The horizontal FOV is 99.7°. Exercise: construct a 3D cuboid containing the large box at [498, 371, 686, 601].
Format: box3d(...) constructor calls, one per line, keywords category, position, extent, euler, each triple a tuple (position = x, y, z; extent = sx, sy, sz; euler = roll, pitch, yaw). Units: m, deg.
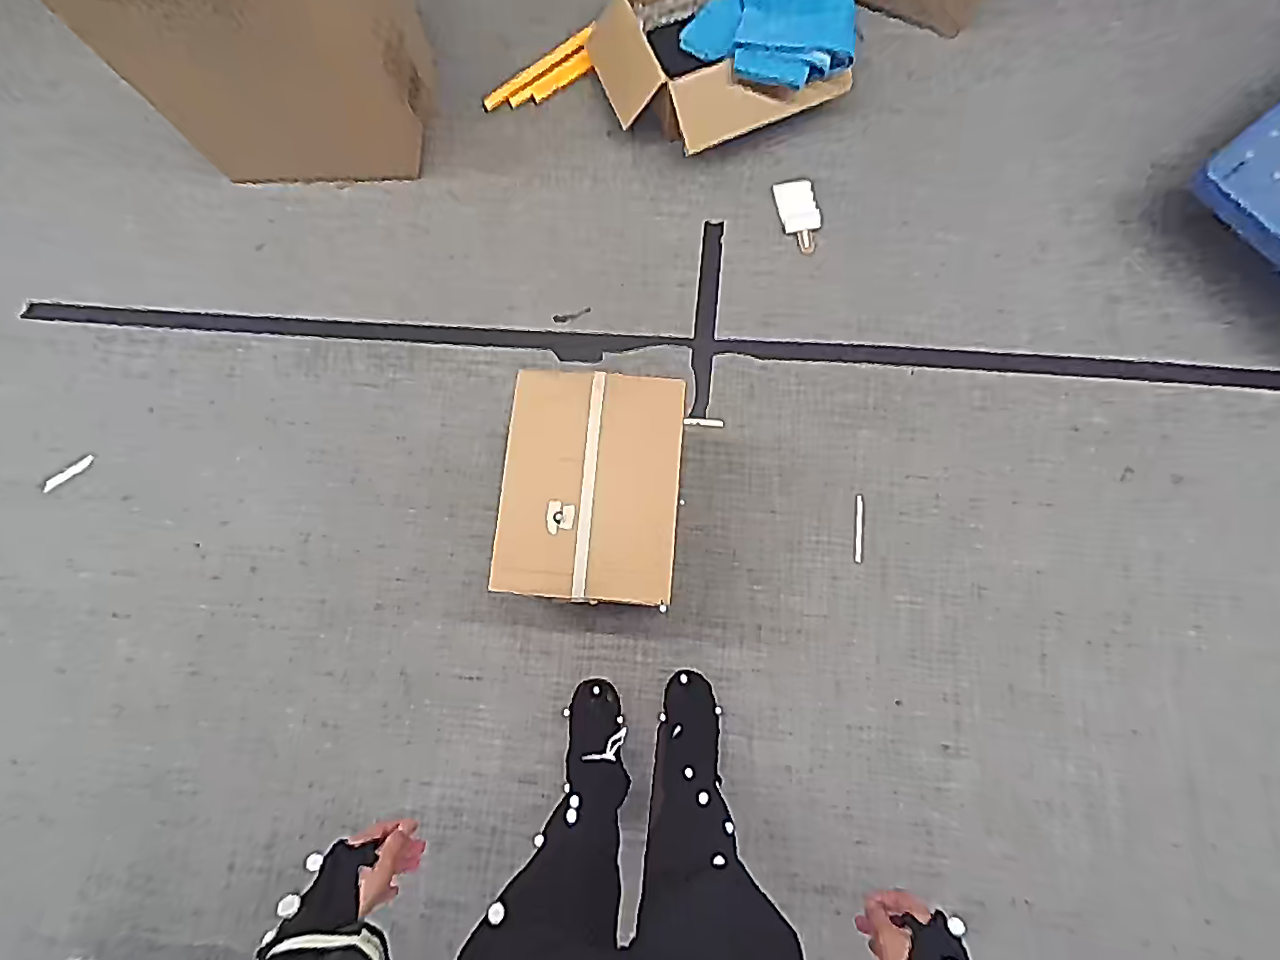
box3d(category="large box", position=(-0.076, 0.026, 1.093), extent=(0.320, 0.320, 0.408), euler=(3, 80, 4))
